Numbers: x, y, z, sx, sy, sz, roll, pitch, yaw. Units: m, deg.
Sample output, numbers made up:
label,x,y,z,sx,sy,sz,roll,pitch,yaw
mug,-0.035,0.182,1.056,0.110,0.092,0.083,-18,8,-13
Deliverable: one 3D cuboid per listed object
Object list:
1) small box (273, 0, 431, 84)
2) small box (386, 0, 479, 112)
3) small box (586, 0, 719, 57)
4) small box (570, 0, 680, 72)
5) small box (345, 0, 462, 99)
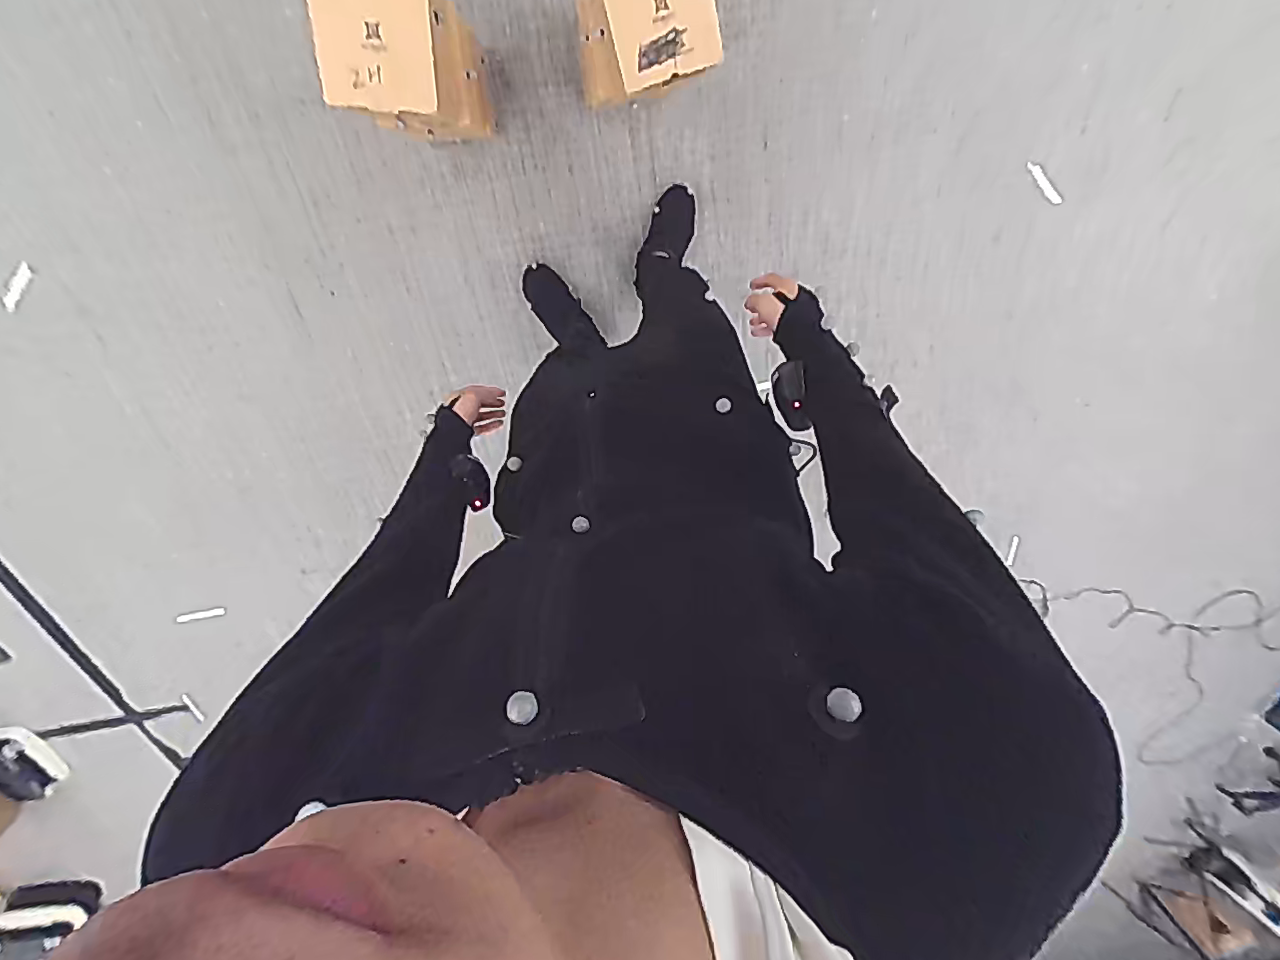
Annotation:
label,x,y,z,sx,sy,sz,roll,pitch,yaw
small box,-0.407,-0.692,0.772,0.168,0.176,0.179,0,120,-8
small box,-0.423,-0.844,1.062,0.168,0.176,0.179,-8,120,-4
small box,0.004,-0.759,0.801,0.168,0.176,0.179,-18,121,0
small box,-0.034,-0.842,0.939,0.168,0.176,0.179,-12,120,-3
small box,-0.412,-0.767,0.920,0.168,0.176,0.179,-5,120,-5
